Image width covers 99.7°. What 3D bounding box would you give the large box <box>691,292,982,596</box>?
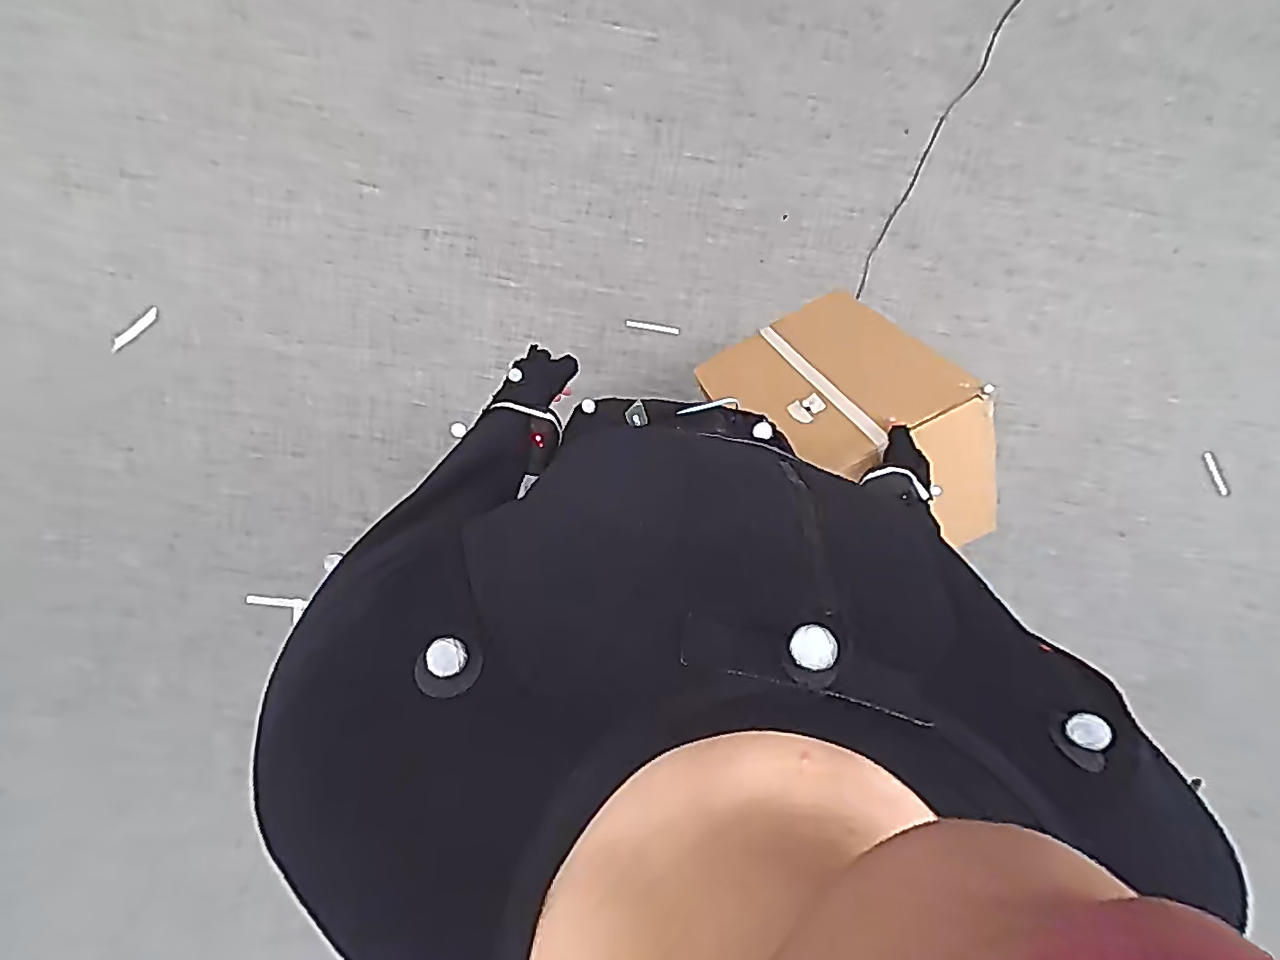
[{"bbox_3d":[0.341,-0.074,0.989,0.320,0.408,0.320,-29,131,7],"label":"large box"}]
